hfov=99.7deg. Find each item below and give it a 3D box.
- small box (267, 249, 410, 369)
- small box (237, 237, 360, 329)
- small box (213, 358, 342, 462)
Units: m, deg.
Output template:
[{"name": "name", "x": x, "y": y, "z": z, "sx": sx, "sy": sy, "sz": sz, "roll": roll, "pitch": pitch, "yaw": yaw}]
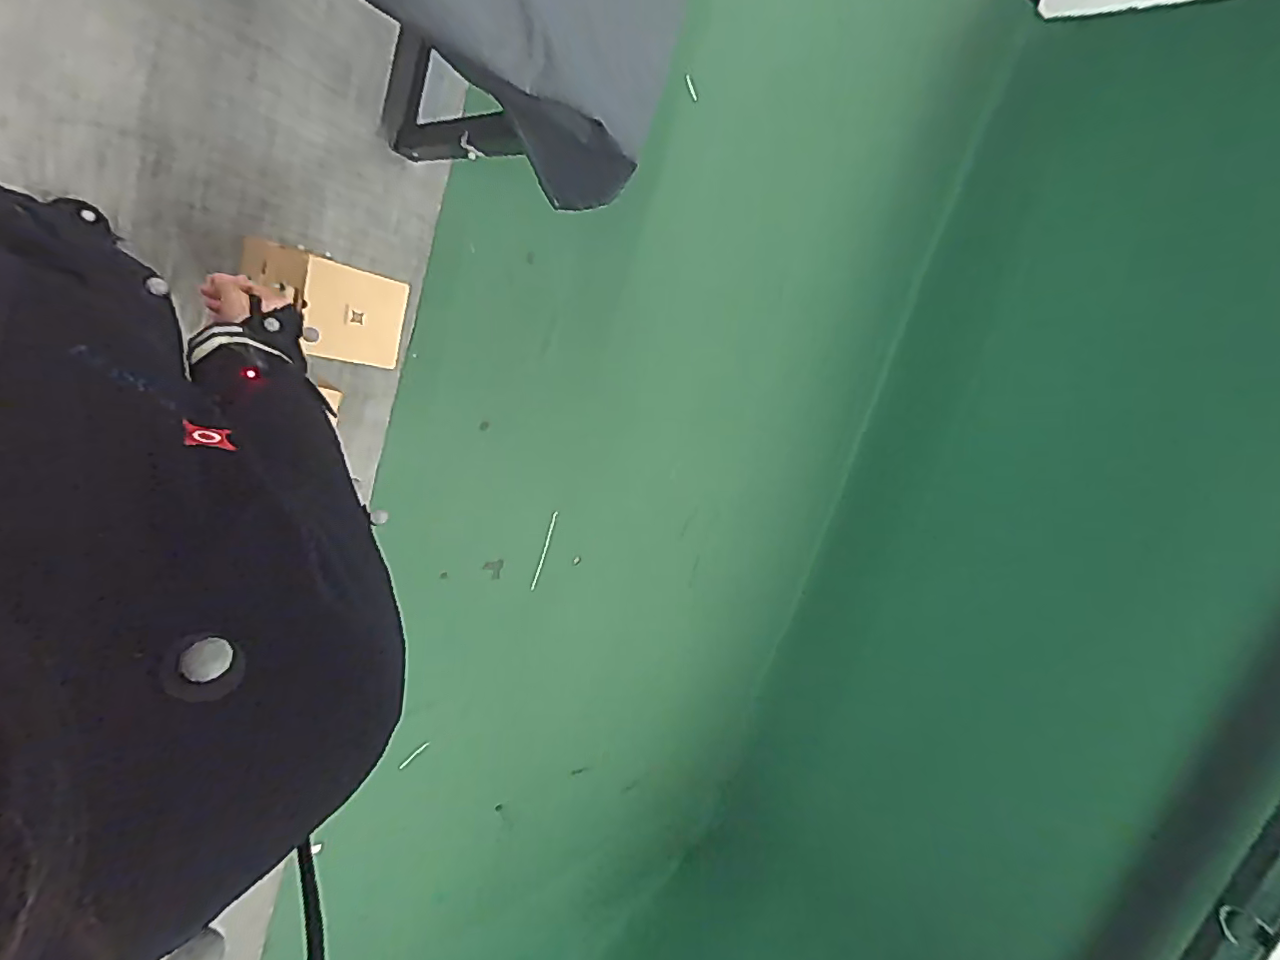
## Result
[{"name": "small box", "x": -0.568, "y": -0.322, "z": 1.016, "sx": 0.179, "sy": 0.176, "sz": 0.168, "roll": 2, "pitch": 109, "yaw": -49}, {"name": "small box", "x": -0.695, "y": -0.381, "z": 1.103, "sx": 0.179, "sy": 0.176, "sz": 0.168, "roll": 5, "pitch": 105, "yaw": -50}, {"name": "small box", "x": -0.771, "y": -0.149, "z": 1.148, "sx": 0.179, "sy": 0.176, "sz": 0.168, "roll": 9, "pitch": 102, "yaw": -49}]
